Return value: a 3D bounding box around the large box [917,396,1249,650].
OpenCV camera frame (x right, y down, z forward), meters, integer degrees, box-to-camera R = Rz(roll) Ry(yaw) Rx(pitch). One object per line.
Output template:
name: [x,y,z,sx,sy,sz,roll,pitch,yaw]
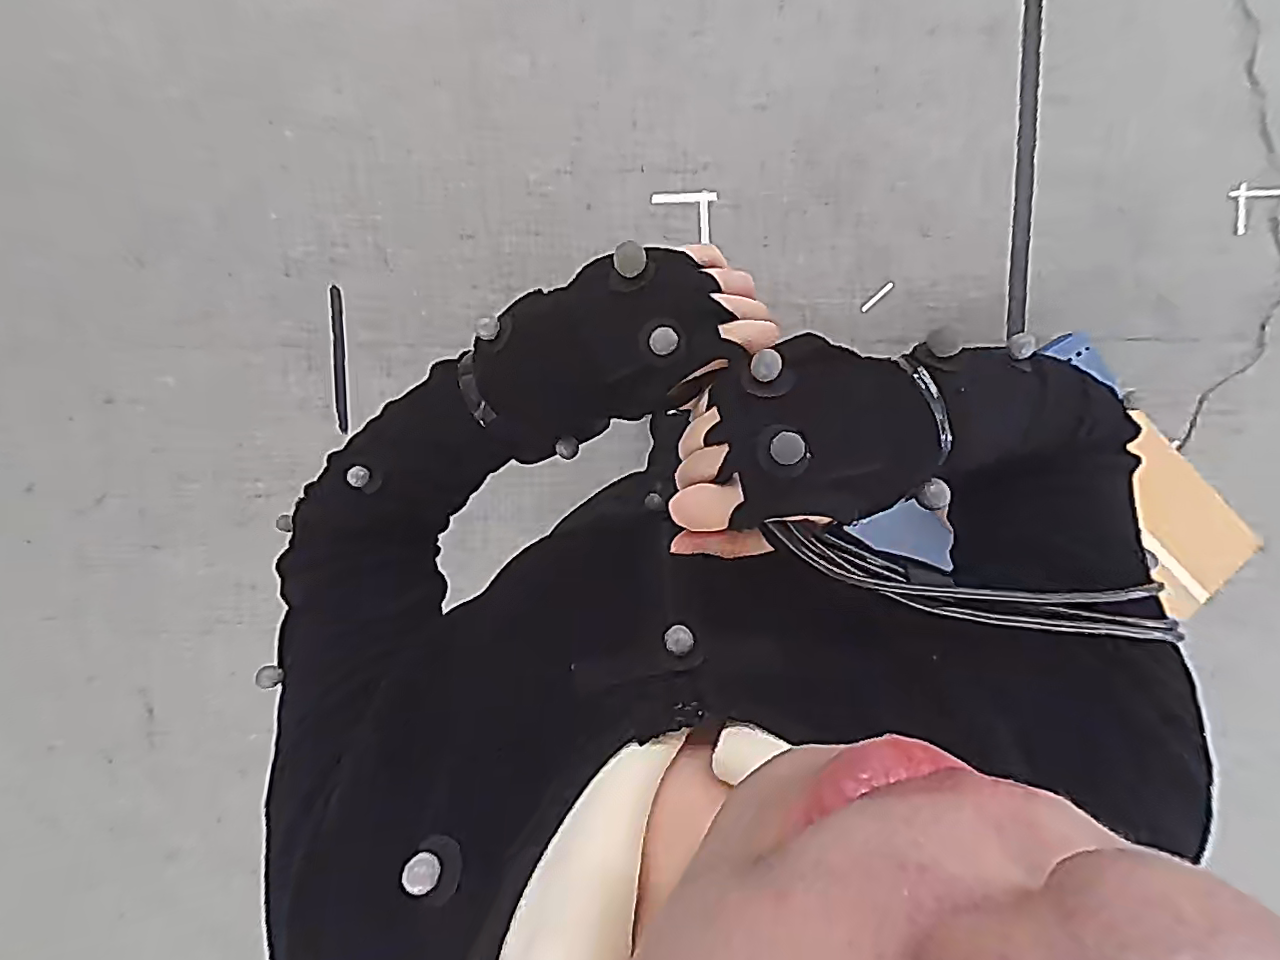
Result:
large box: [0.912,0.075,1.170,0.320,0.320,0.408,-45,94,2]
